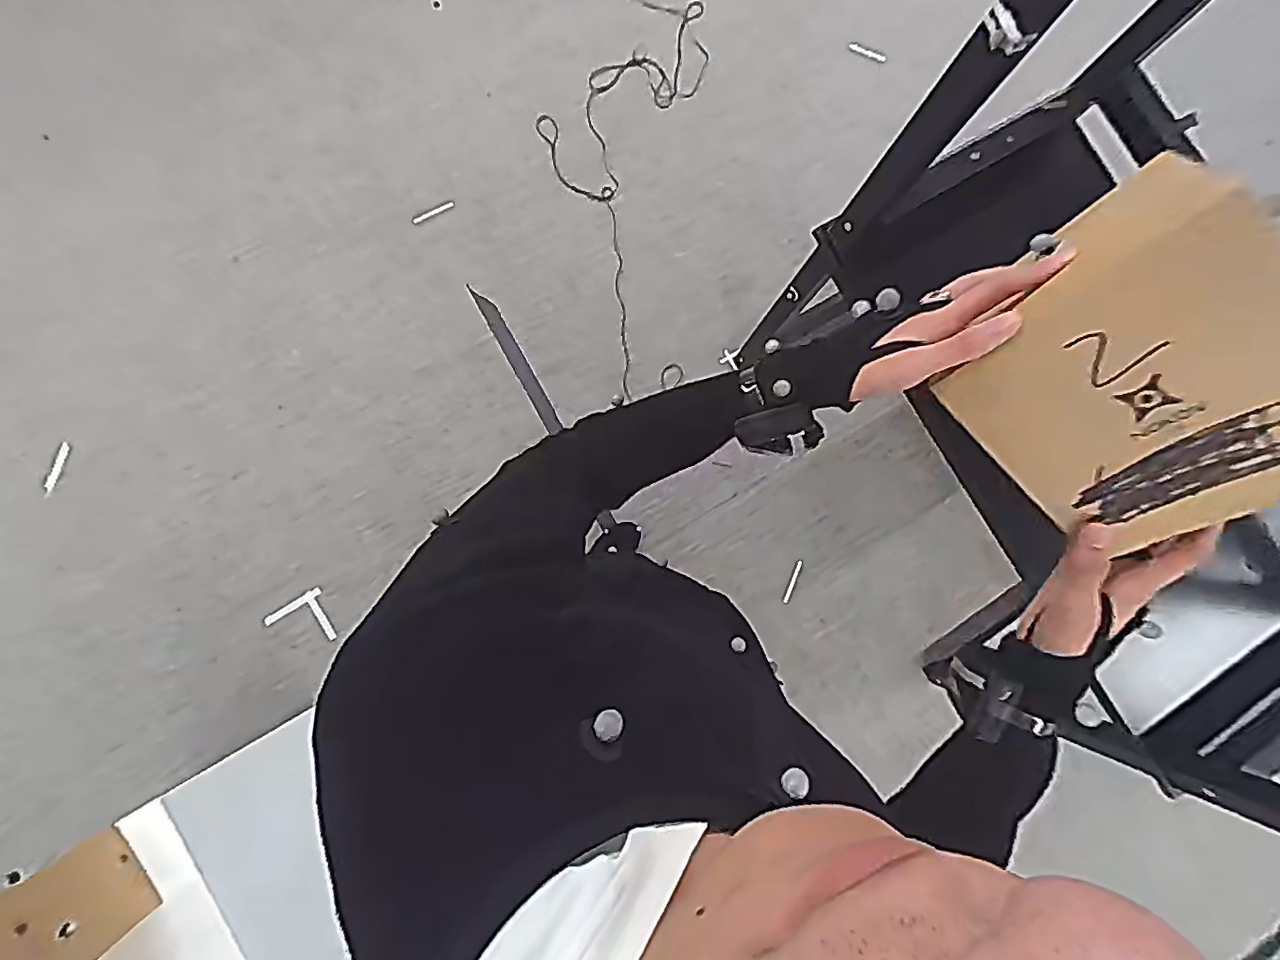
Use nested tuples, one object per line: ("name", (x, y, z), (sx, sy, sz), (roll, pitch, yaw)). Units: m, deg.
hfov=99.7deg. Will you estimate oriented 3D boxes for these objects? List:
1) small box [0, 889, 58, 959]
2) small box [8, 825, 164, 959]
("small box", (-0.924, 0.693, 0.698), (0.179, 0.176, 0.168), (-32, 88, -6))
("small box", (-0.936, 0.708, 0.862), (0.179, 0.176, 0.168), (-33, 89, -6))
